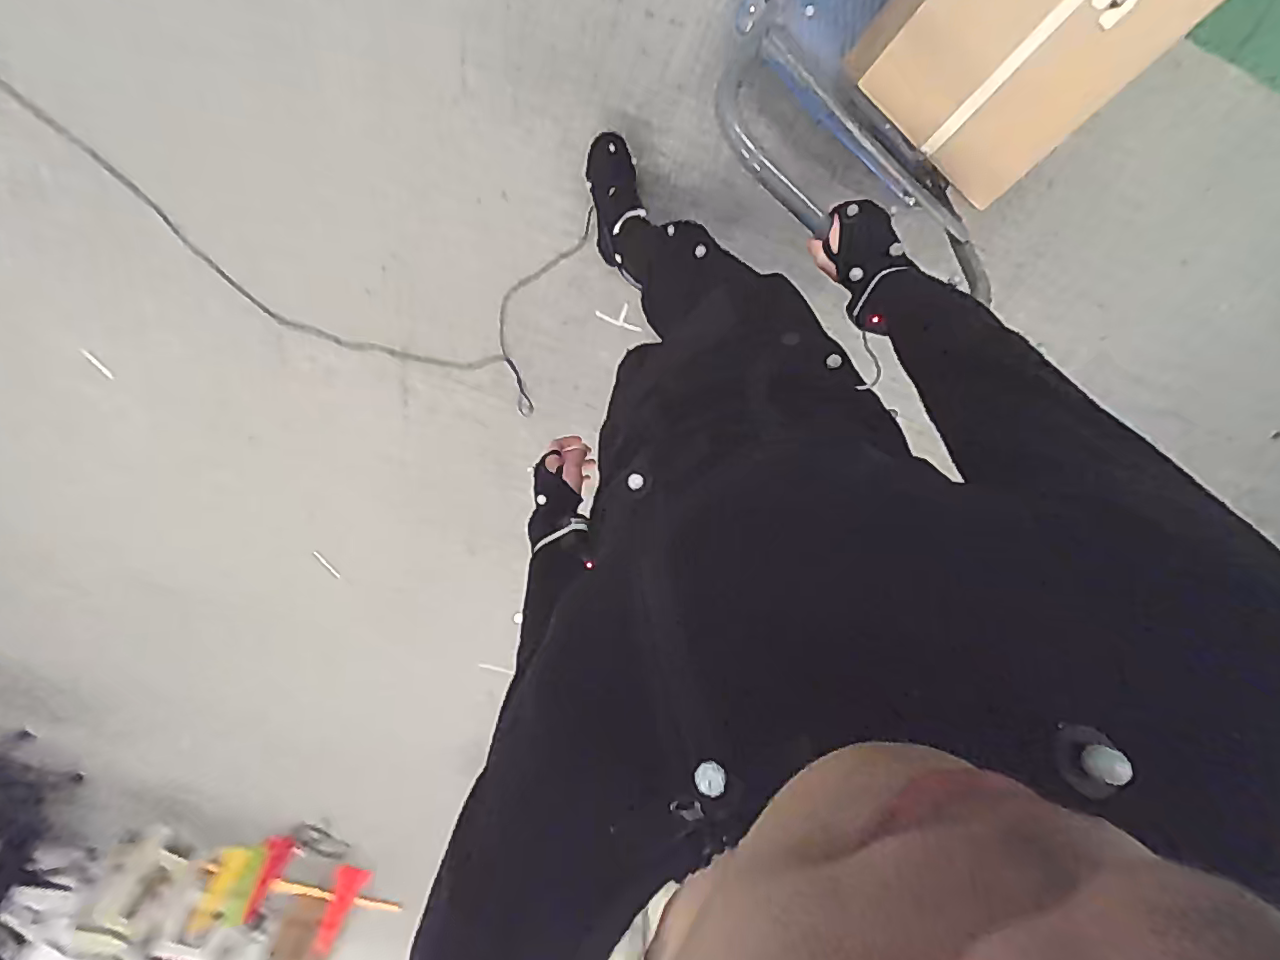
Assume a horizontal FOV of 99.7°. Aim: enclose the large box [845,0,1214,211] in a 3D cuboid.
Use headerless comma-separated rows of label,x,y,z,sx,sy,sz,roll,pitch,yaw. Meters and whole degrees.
large box,0.610,-0.751,0.894,0.320,0.320,0.408,33,131,-16
